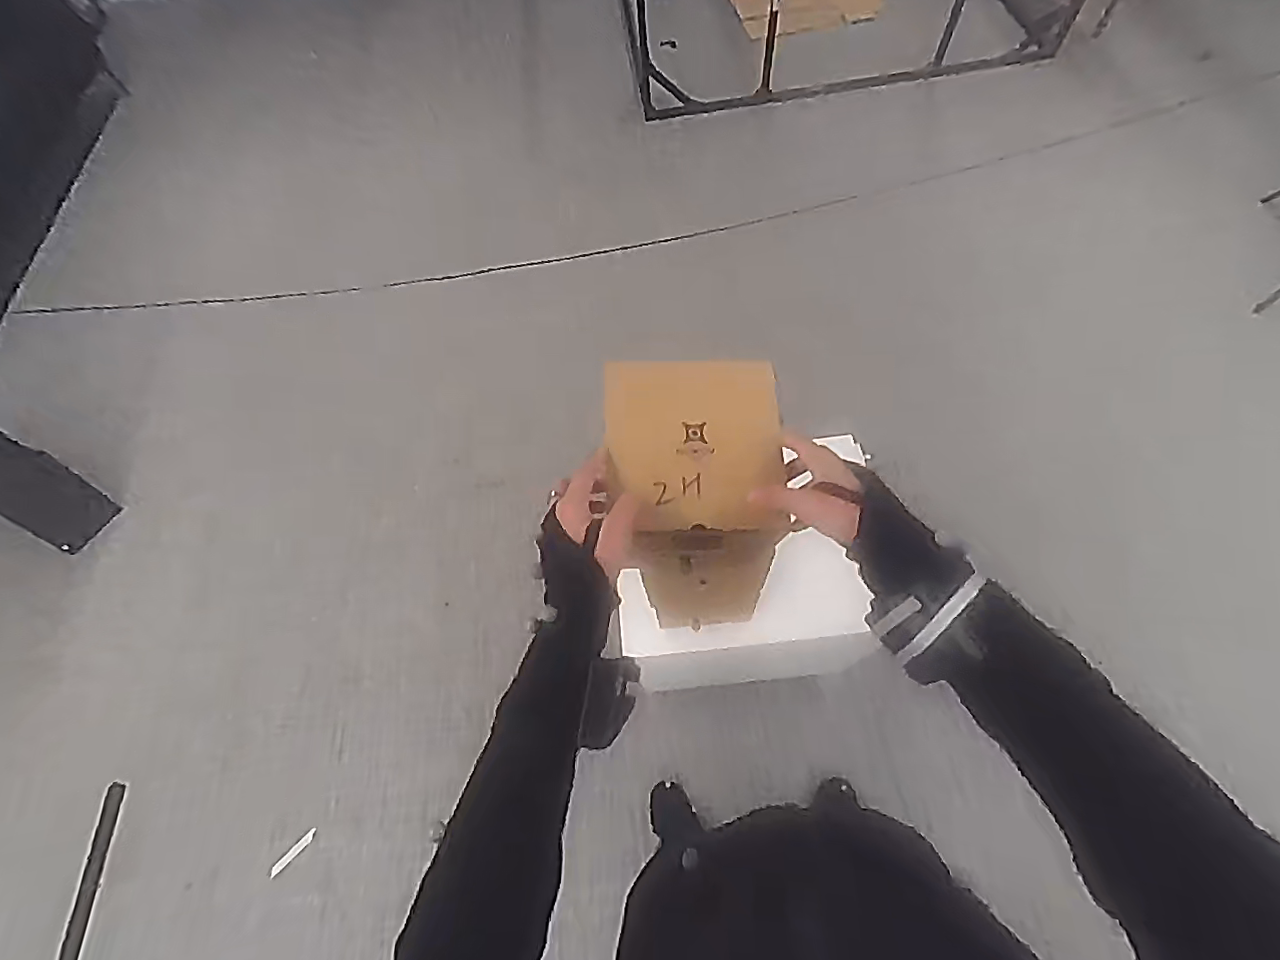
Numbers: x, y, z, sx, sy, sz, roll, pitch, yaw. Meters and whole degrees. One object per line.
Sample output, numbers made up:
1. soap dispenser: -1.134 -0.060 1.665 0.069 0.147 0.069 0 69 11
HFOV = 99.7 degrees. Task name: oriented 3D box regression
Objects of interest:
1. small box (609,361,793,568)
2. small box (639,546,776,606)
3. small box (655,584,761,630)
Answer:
1. small box: 0.052 -0.008 0.577 0.168 0.176 0.179 -1 71 -1
2. small box: 0.083 0.071 0.780 0.179 0.176 0.168 -11 61 2
3. small box: 0.103 0.145 0.926 0.168 0.176 0.179 -6 62 3
